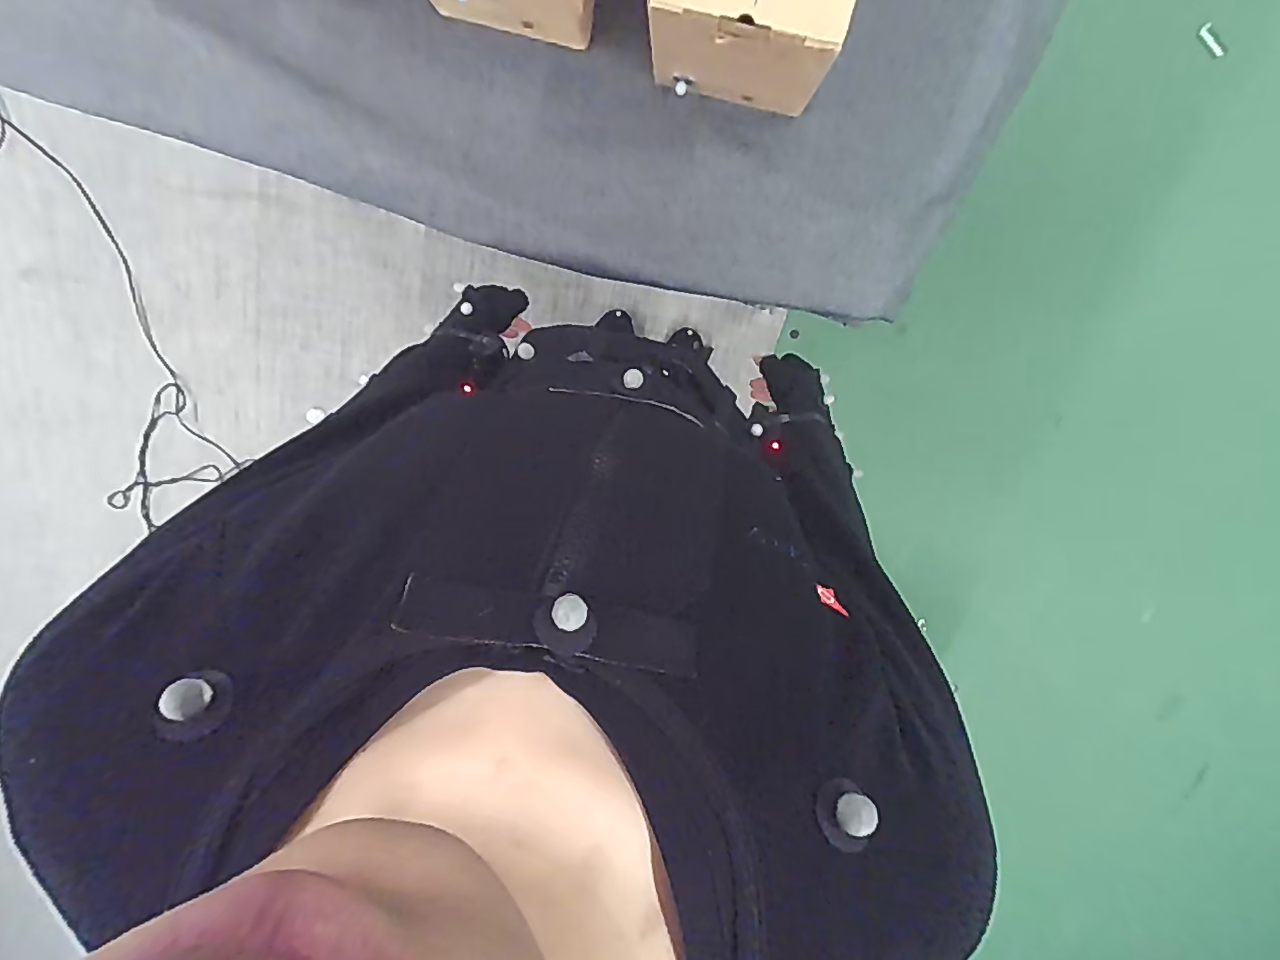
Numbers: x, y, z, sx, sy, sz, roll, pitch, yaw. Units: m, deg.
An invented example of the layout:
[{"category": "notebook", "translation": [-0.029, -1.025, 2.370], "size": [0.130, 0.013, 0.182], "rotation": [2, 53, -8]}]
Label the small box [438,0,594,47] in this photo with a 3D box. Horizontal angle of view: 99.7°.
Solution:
[{"category": "small box", "translation": [-0.122, -0.533, 0.480], "size": [0.168, 0.176, 0.179], "rotation": [13, 107, -1]}]
